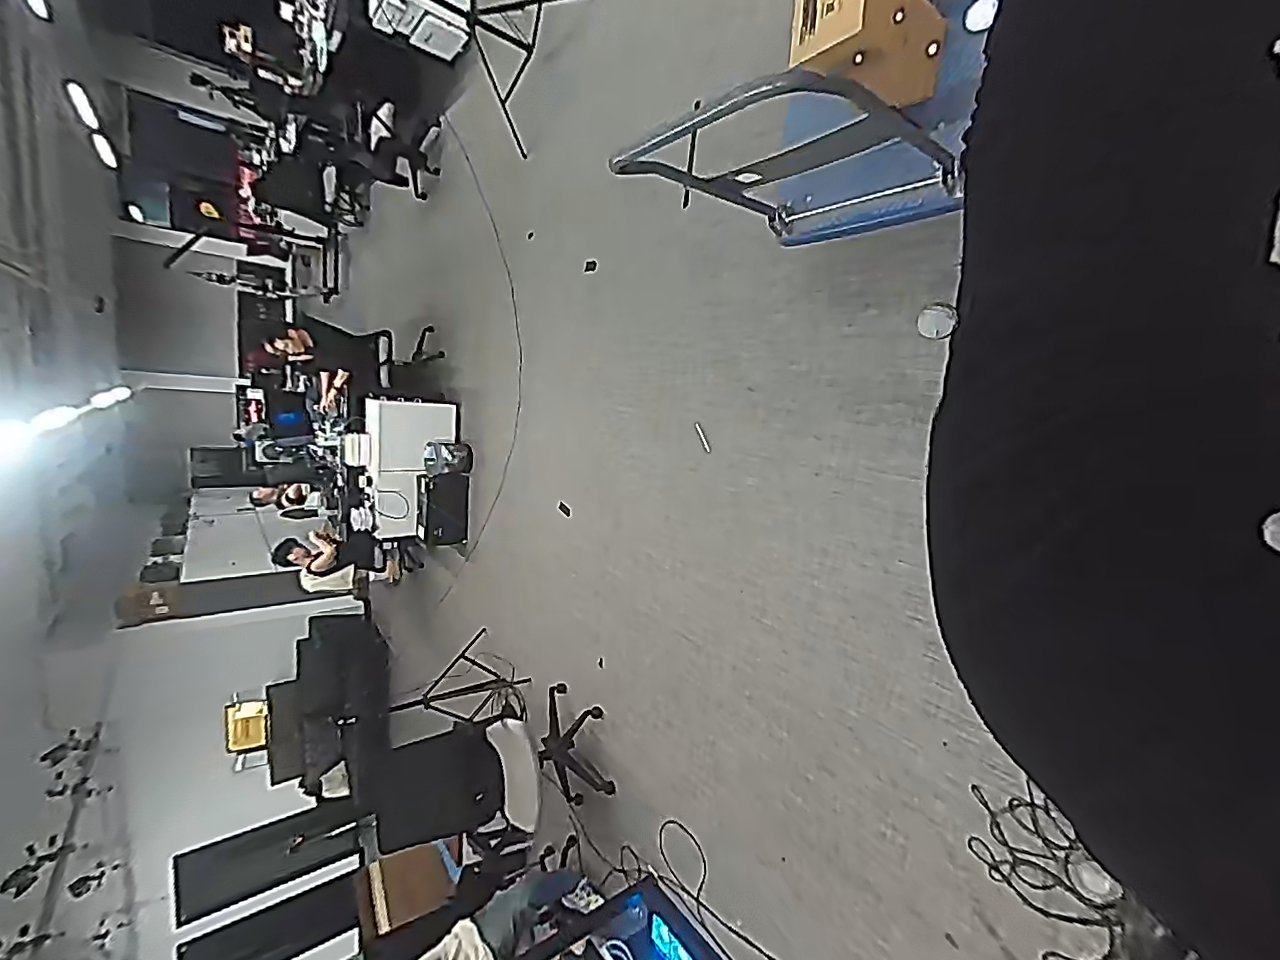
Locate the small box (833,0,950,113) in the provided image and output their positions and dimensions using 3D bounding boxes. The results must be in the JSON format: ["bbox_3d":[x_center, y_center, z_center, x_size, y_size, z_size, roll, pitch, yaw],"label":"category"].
[{"bbox_3d":[0.587,-0.998,1.266,0.179,0.176,0.168,19,107,49],"label":"small box"}]
